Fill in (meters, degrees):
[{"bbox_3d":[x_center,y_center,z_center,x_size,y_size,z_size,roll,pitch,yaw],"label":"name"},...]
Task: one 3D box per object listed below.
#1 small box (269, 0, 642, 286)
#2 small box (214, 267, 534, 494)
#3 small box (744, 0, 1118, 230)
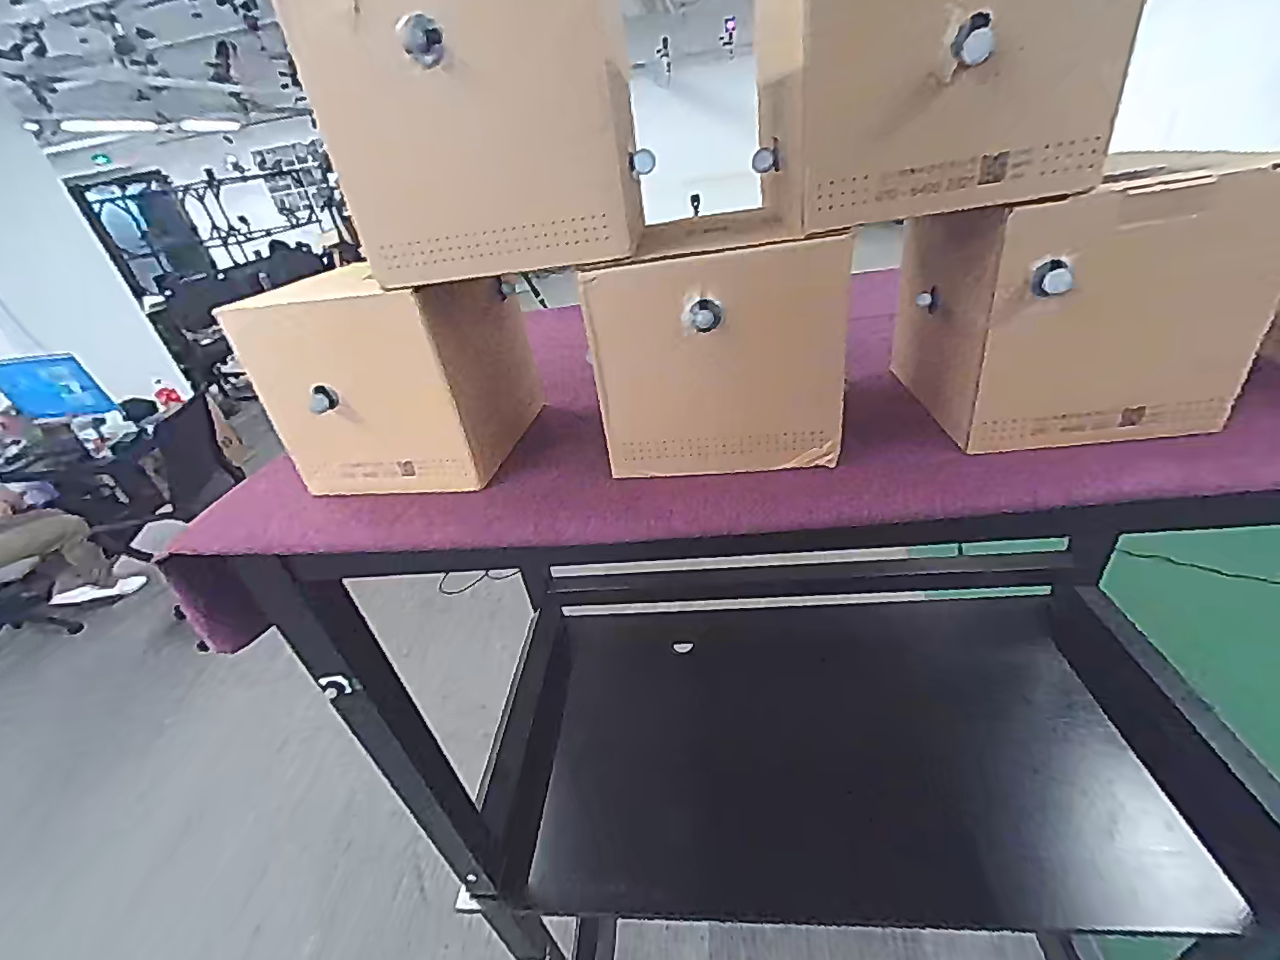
[{"bbox_3d":[-0.100,-0.243,0.380,0.179,0.176,0.168,-5,31,7],"label":"small box"},{"bbox_3d":[-0.211,-0.096,0.490,0.168,0.176,0.179,-3,31,12],"label":"small box"},{"bbox_3d":[0.163,-0.266,0.342,0.168,0.176,0.179,-7,32,7],"label":"small box"}]
